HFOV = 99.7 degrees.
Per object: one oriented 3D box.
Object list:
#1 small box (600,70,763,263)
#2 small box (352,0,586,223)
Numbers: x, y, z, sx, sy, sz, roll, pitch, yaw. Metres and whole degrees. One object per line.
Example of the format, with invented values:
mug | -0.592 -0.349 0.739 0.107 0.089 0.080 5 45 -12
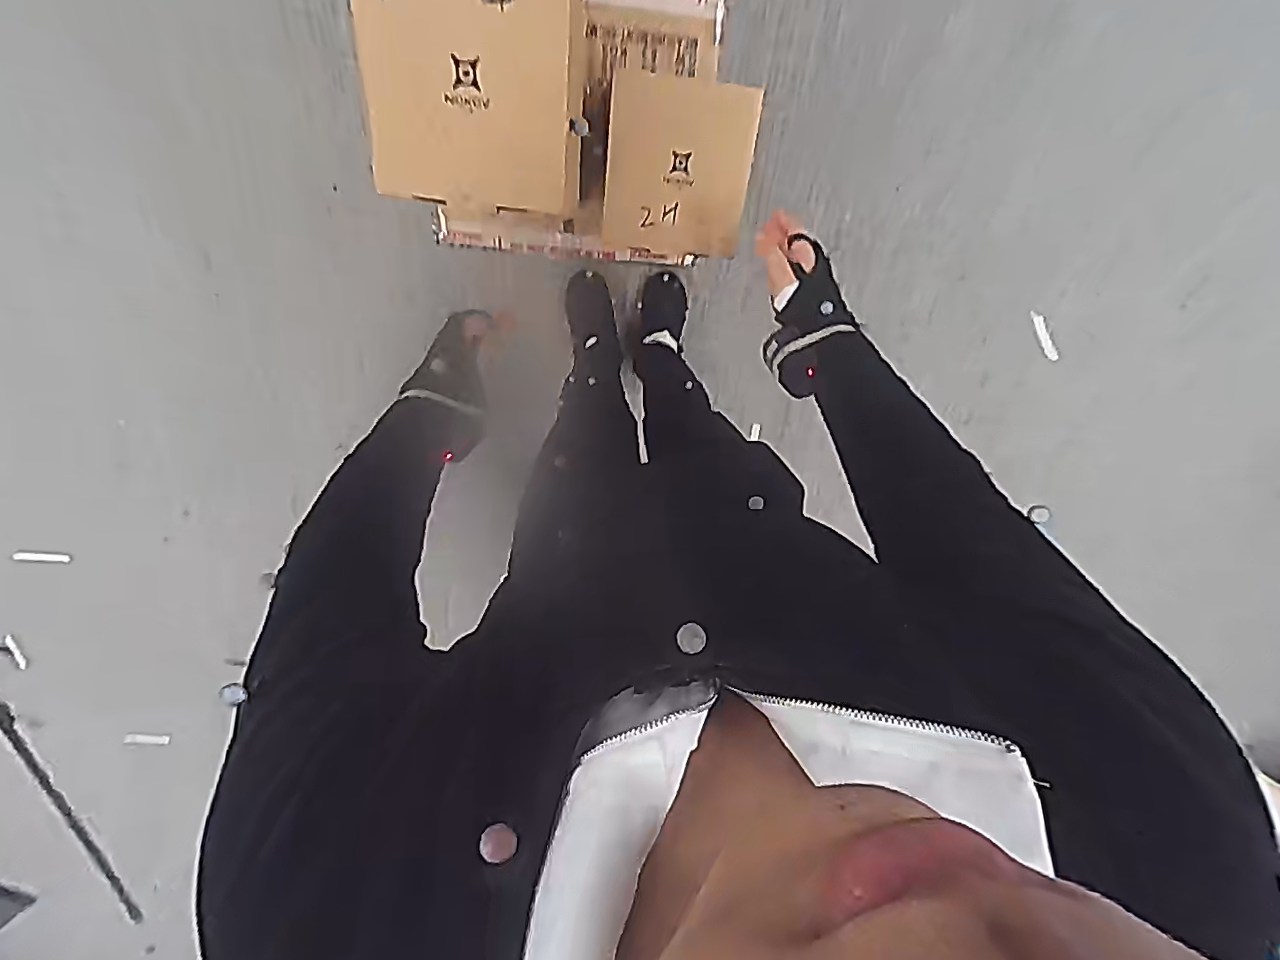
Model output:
small box | 0.038 -0.385 0.682 0.168 0.176 0.179 4 119 -6
small box | -0.140 -0.352 0.502 0.168 0.176 0.179 4 121 -4
